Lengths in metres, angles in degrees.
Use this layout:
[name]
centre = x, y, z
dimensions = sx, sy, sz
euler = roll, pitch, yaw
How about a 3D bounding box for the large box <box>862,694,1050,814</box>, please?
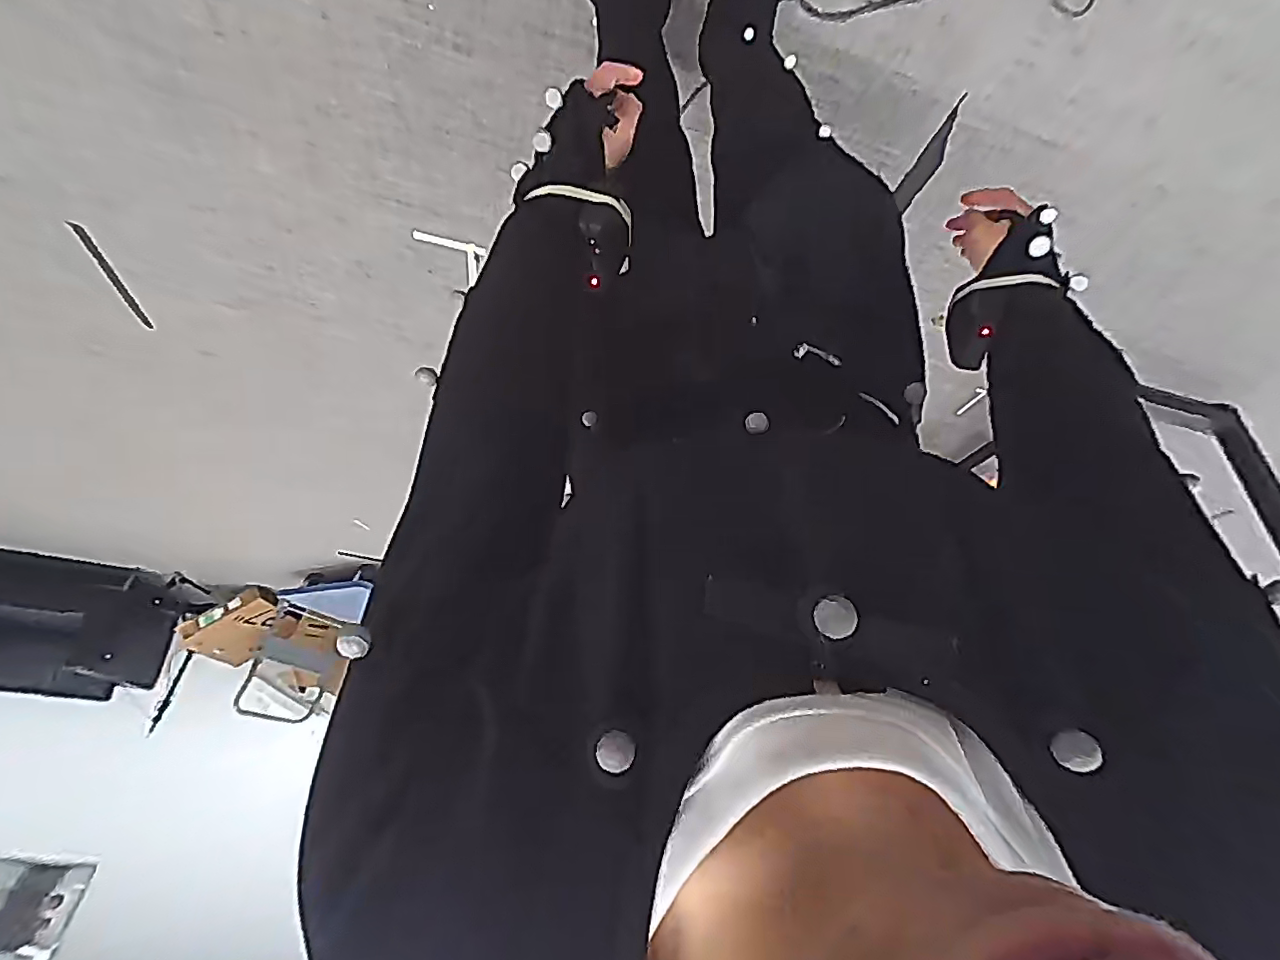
[large box]
centre = 1.025, 0.915, 1.805
dimensions = 0.408, 0.320, 0.320
euler = 11, 149, -11
